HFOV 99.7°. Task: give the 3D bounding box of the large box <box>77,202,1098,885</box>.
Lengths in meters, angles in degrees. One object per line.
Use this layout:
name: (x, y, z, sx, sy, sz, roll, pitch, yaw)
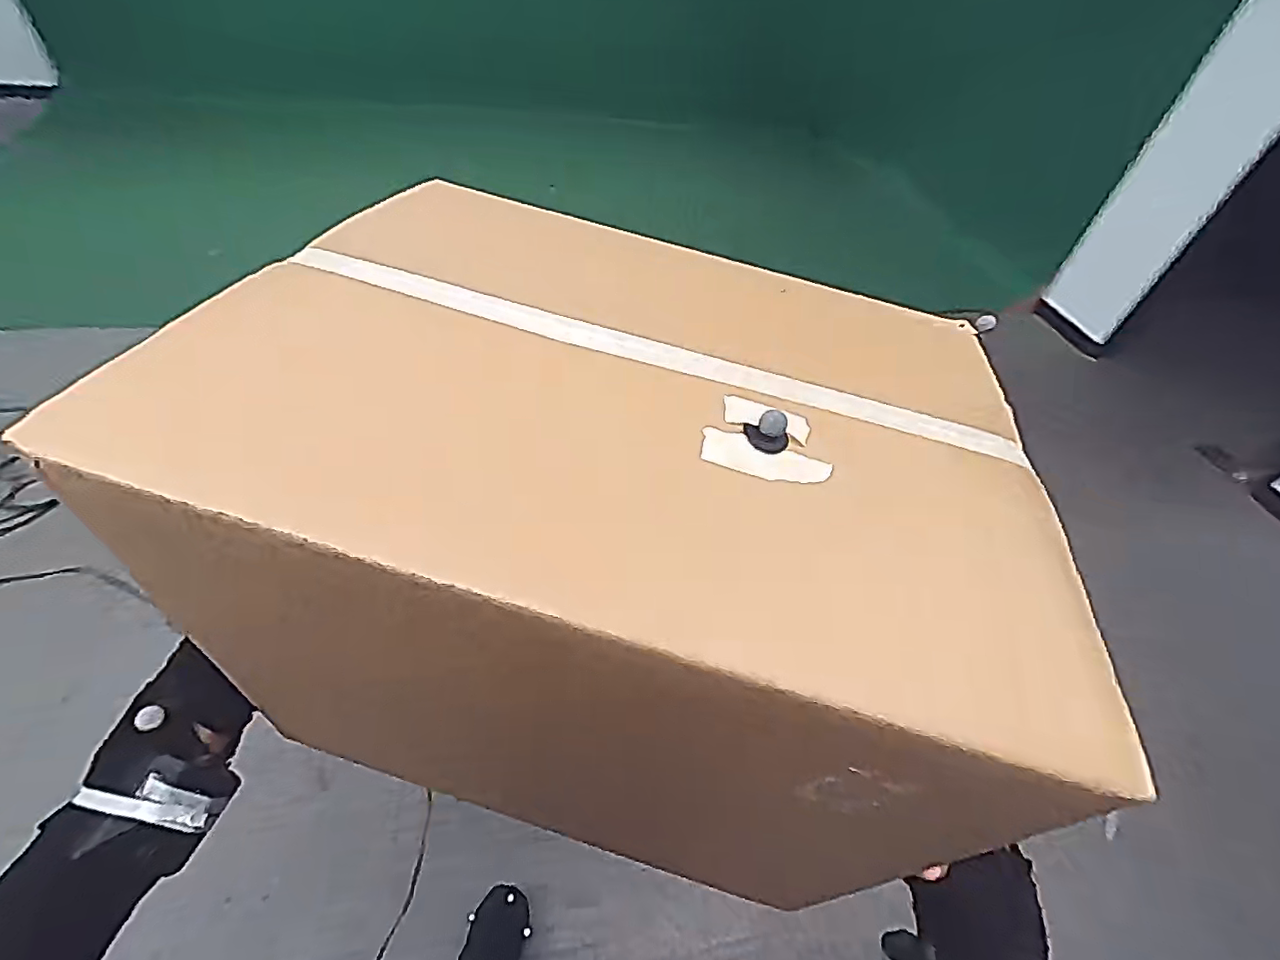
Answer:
large box: (-0.020, 0.044, 0.407, 0.408, 0.320, 0.320, 17, 46, 3)
